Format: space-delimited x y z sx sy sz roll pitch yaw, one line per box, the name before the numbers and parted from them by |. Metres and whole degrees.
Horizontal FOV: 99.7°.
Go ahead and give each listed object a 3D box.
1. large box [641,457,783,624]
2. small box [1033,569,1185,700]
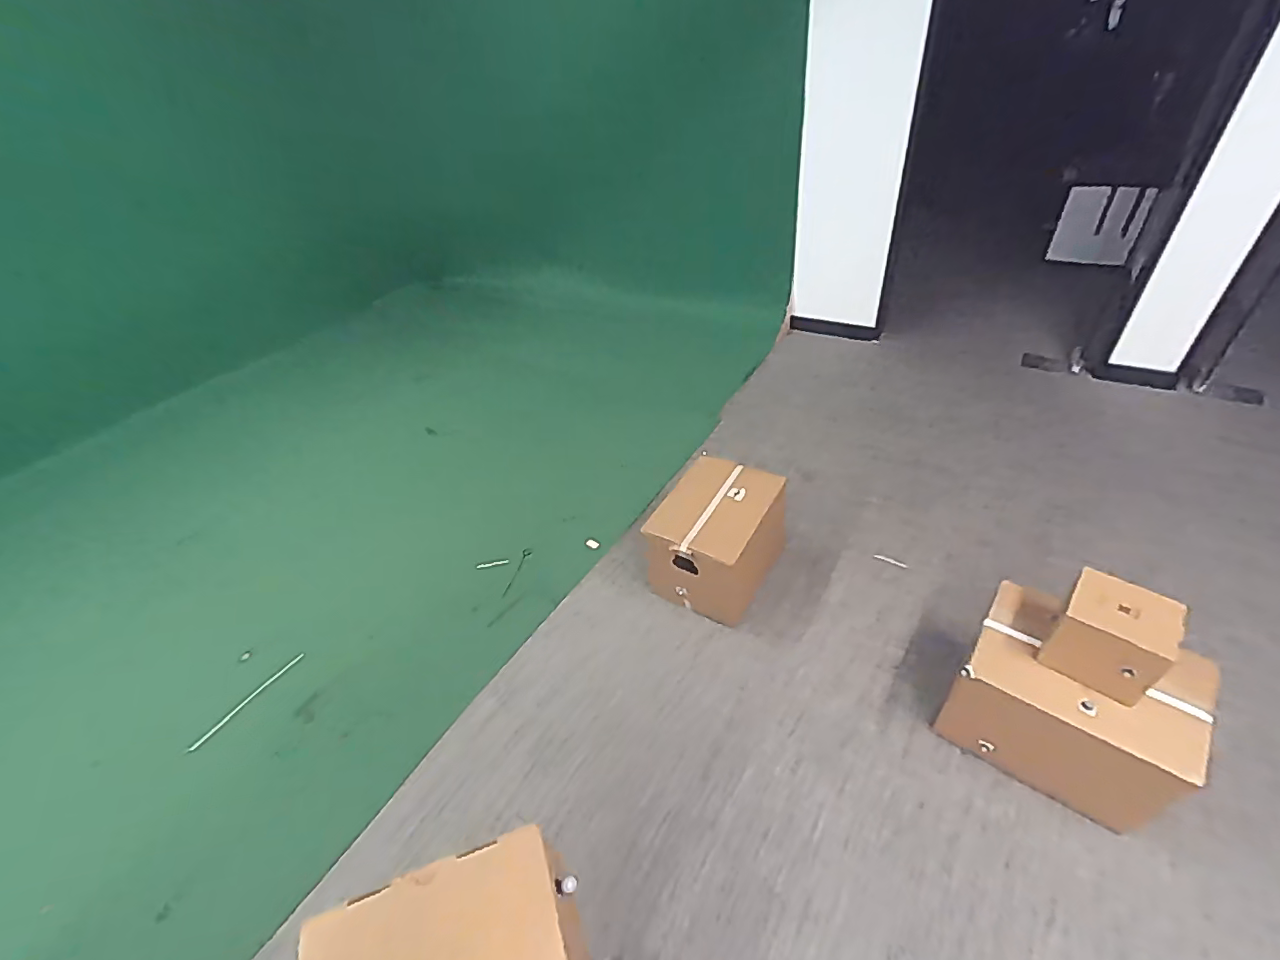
large box | 0.247 0.189 1.779 0.320 0.320 0.408 19 48 28
small box | 0.972 0.327 1.130 0.179 0.176 0.168 28 50 34
